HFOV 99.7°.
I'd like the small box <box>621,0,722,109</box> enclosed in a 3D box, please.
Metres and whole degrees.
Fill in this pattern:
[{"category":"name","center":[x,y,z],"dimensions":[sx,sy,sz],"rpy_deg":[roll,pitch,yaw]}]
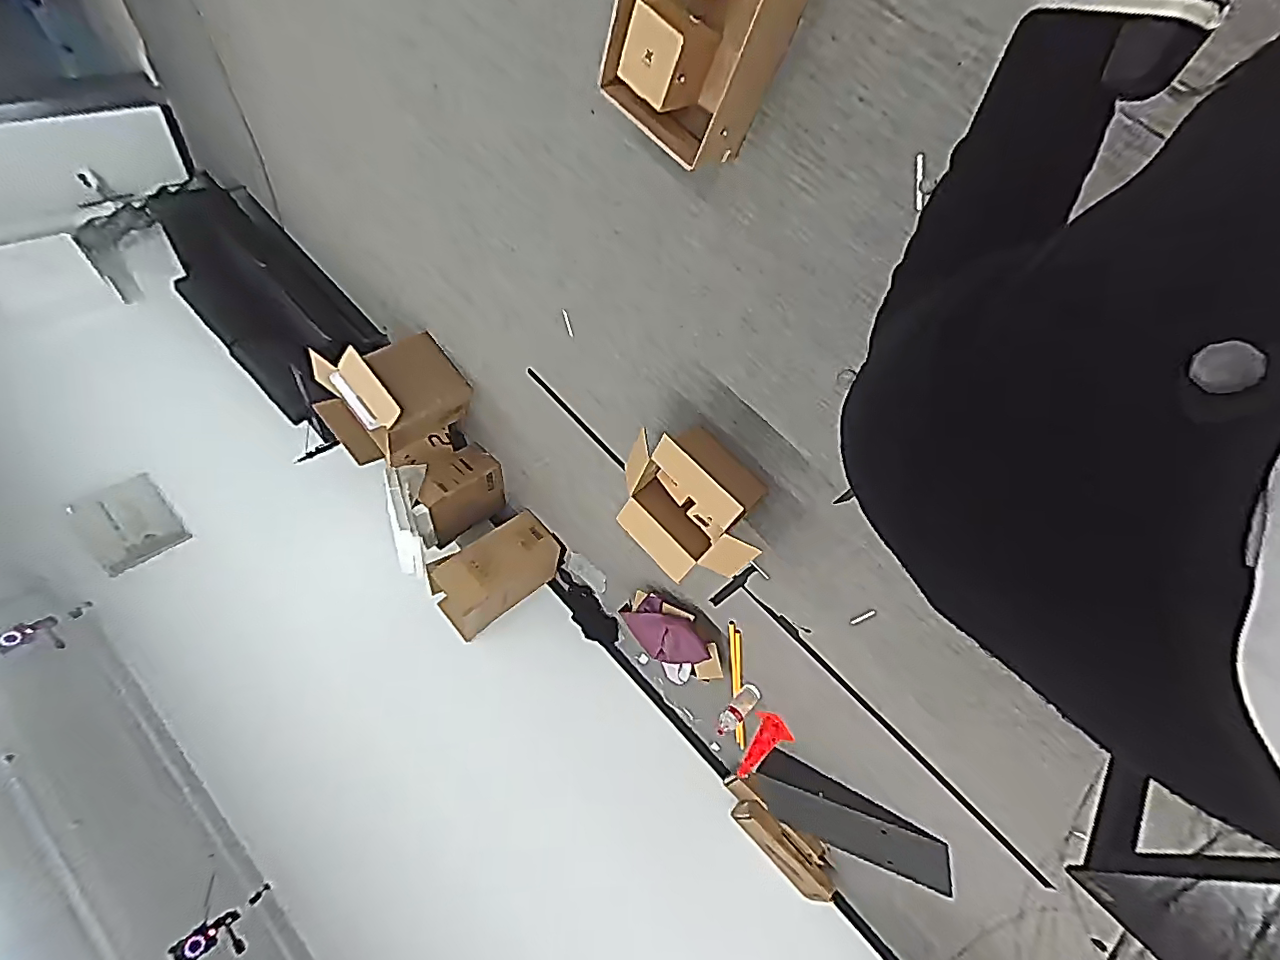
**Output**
[{"category":"small box","center":[0.083,-1.108,1.400],"dimensions":[0.168,0.176,0.179],"rpy_deg":[46,145,7]}]
